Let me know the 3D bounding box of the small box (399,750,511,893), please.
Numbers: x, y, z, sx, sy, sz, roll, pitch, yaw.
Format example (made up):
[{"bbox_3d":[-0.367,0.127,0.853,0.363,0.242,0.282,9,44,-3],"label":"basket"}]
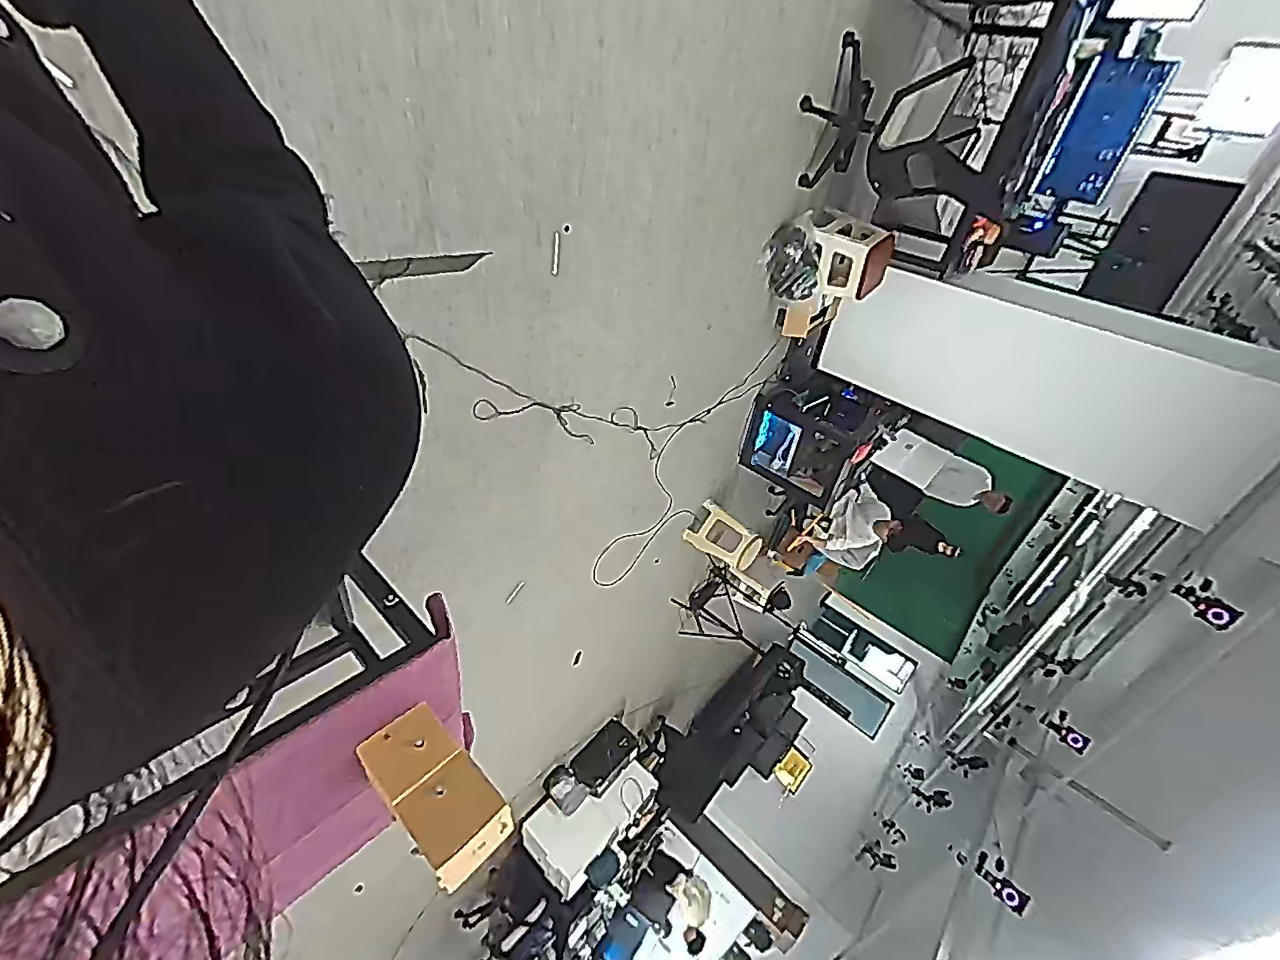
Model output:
[{"bbox_3d":[-0.411,0.749,1.197,0.179,0.176,0.168,-32,143,-36],"label":"small box"}]

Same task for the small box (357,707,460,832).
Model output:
[{"bbox_3d":[-0.535,0.668,1.268,0.168,0.176,0.179,-31,143,-38],"label":"small box"}]
